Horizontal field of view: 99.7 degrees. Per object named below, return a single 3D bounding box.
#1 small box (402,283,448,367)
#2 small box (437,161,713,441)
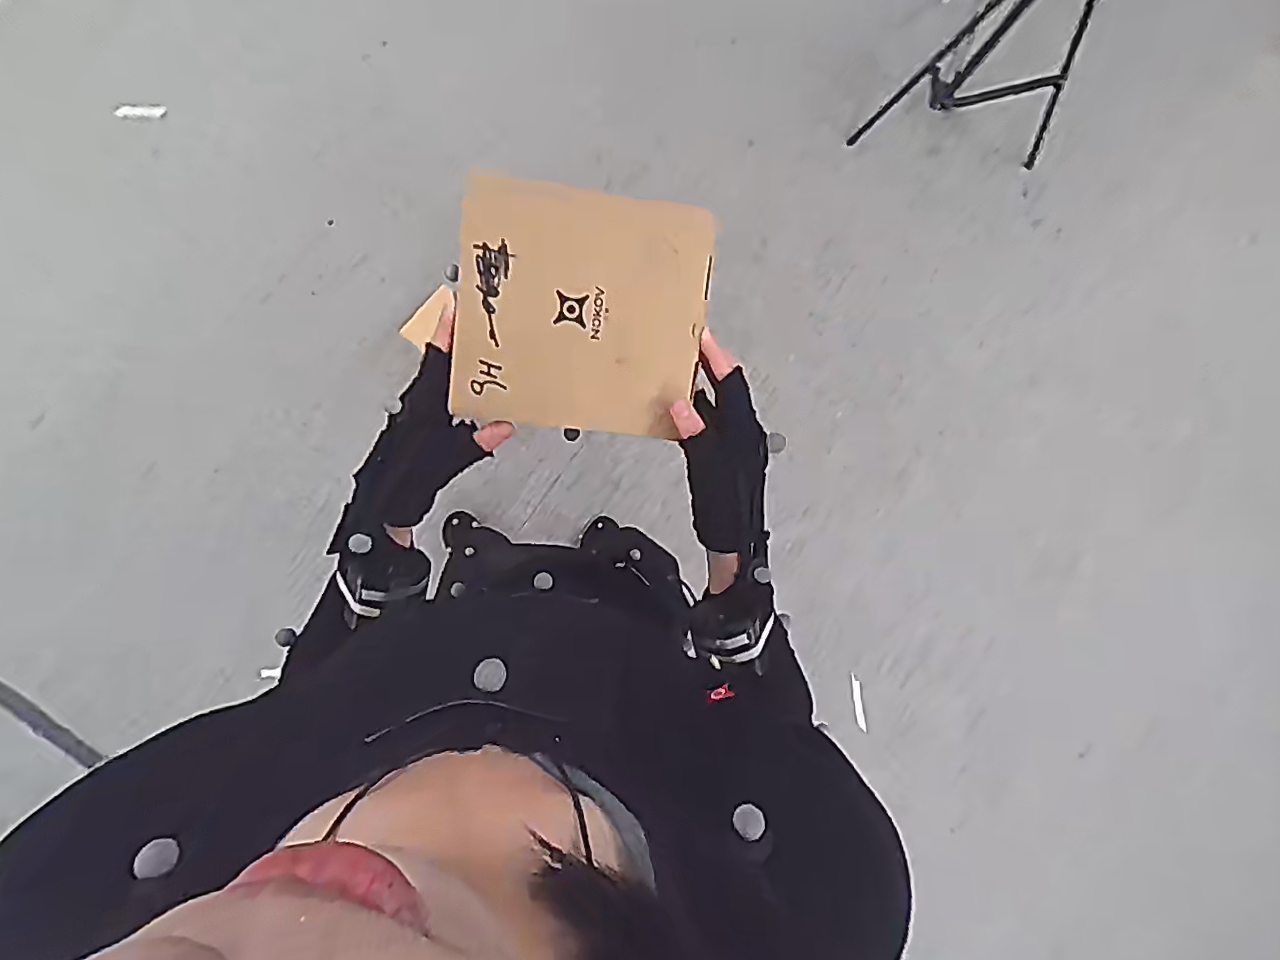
[{"bbox_3d":[-0.491,-0.381,1.443,0.168,0.176,0.179,40,86,0],"label":"small box"},{"bbox_3d":[-0.055,-0.130,0.452,0.179,0.176,0.168,6,97,-9],"label":"small box"}]
